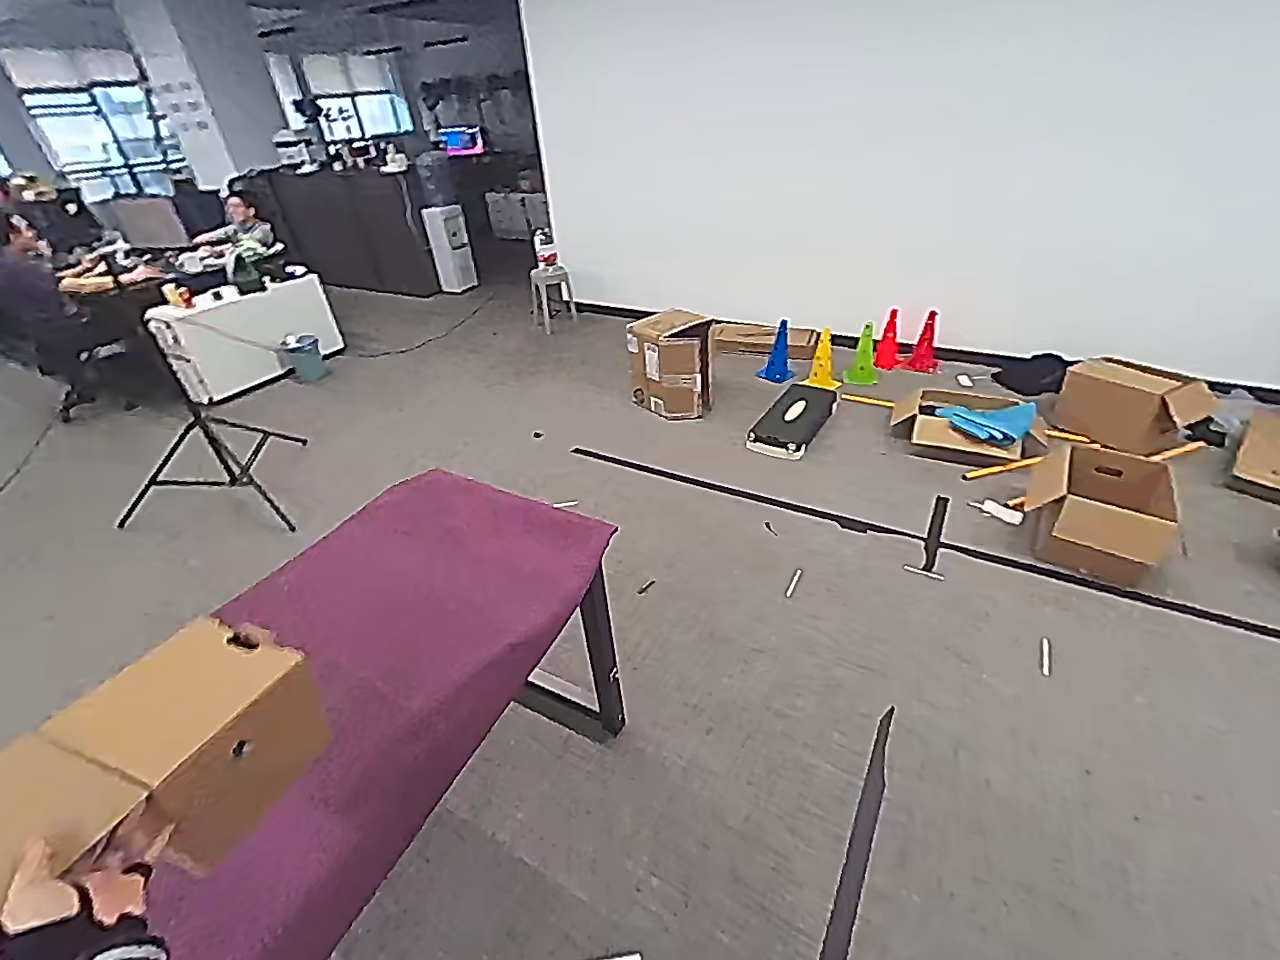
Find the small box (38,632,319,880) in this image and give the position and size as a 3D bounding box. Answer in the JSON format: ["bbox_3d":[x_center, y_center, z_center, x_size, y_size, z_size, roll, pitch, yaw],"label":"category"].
[{"bbox_3d":[-0.517,0.320,0.639,0.168,0.176,0.179,14,28,12],"label":"small box"}]
